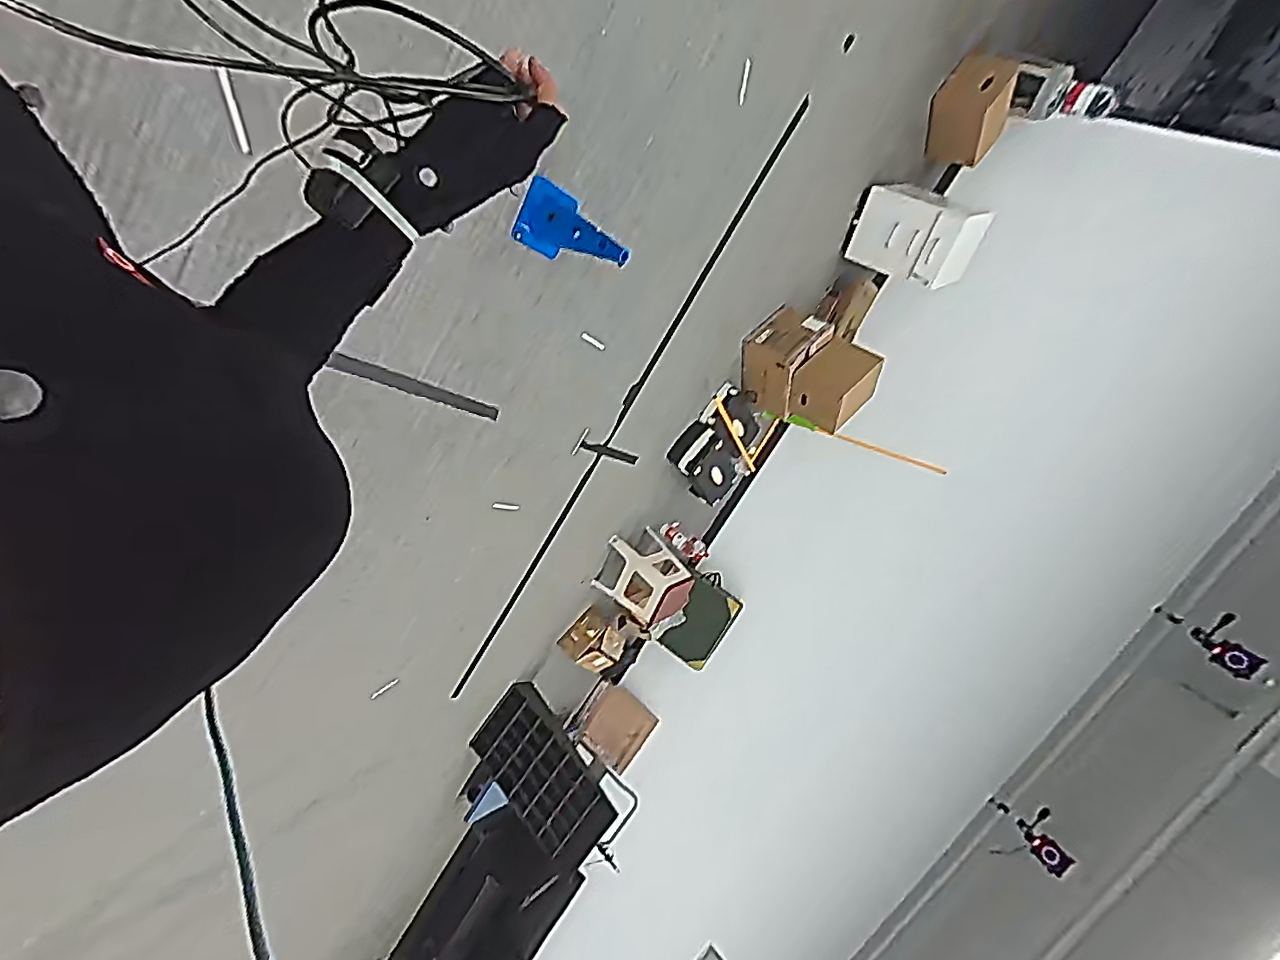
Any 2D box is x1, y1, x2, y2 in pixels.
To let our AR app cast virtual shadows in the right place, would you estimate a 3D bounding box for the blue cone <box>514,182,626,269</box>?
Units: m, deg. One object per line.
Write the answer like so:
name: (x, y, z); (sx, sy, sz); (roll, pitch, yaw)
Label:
blue cone: (-0.179, -0.720, 1.604); (0.193, 0.380, 0.192); (5, 119, -58)
